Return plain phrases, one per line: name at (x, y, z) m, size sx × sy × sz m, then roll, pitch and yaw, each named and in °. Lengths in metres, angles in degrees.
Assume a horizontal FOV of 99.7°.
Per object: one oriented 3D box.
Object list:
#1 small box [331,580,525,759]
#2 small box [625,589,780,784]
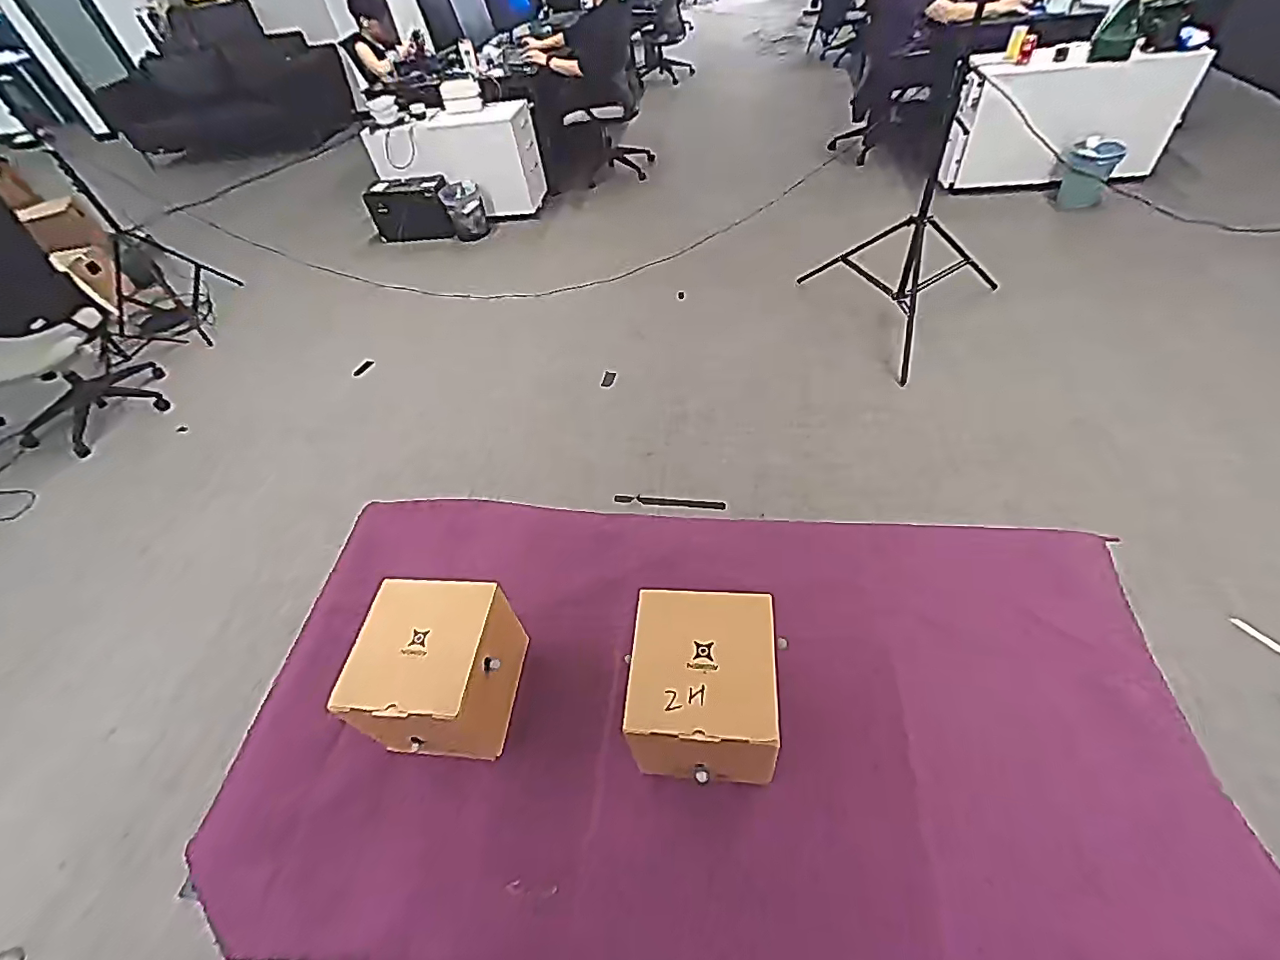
small box at (-0.267, 0.257, 0.734) m, size 0.168 × 0.176 × 0.179 m, roll 0°, pitch 50°, yaw 8°
small box at (0.082, 0.257, 0.677) m, size 0.168 × 0.176 × 0.179 m, roll 0°, pitch 49°, yaw 10°
